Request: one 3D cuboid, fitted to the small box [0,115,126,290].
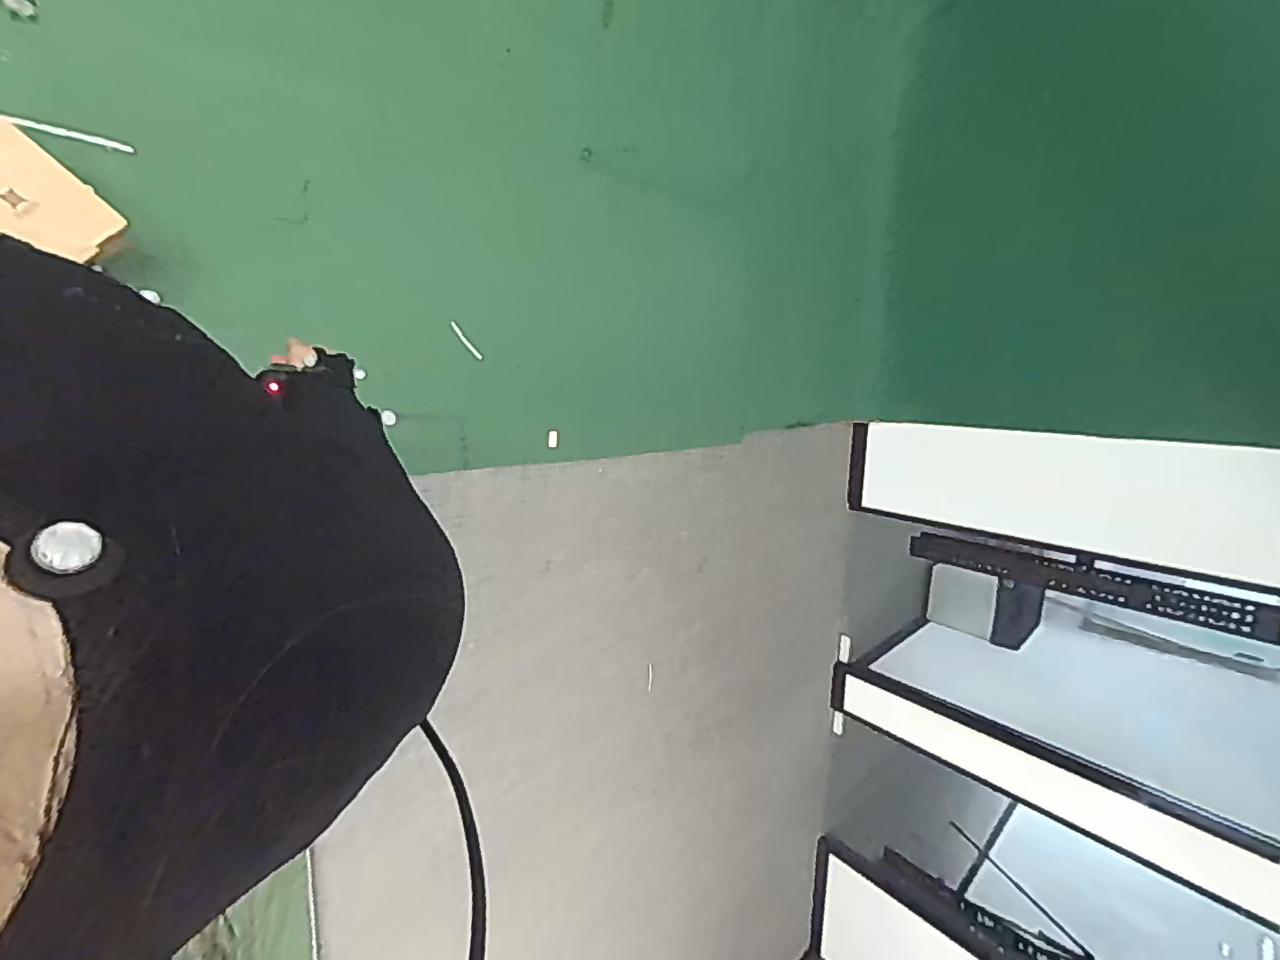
[{"bbox_3d":[-0.956,-0.415,0.839,0.168,0.176,0.179,-55,130,-19],"label":"small box"}]
